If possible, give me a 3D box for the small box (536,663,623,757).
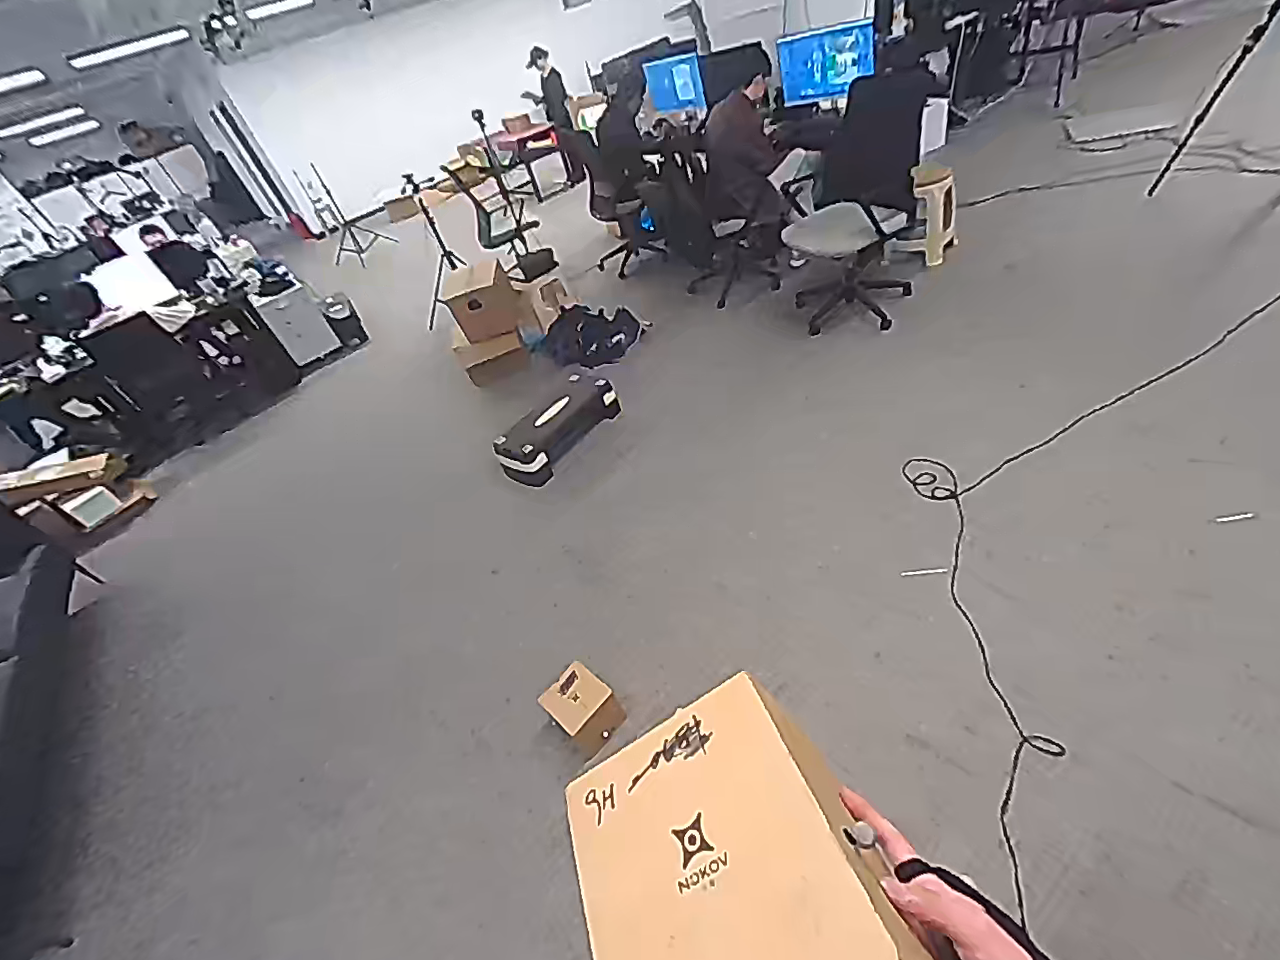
[{"bbox_3d":[-0.180,0.699,1.635,0.179,0.176,0.168,26,57,39],"label":"small box"}]

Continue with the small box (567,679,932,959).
[{"bbox_3d":[0.075,0.283,0.381,0.168,0.176,0.179,-34,38,4],"label":"small box"}]
